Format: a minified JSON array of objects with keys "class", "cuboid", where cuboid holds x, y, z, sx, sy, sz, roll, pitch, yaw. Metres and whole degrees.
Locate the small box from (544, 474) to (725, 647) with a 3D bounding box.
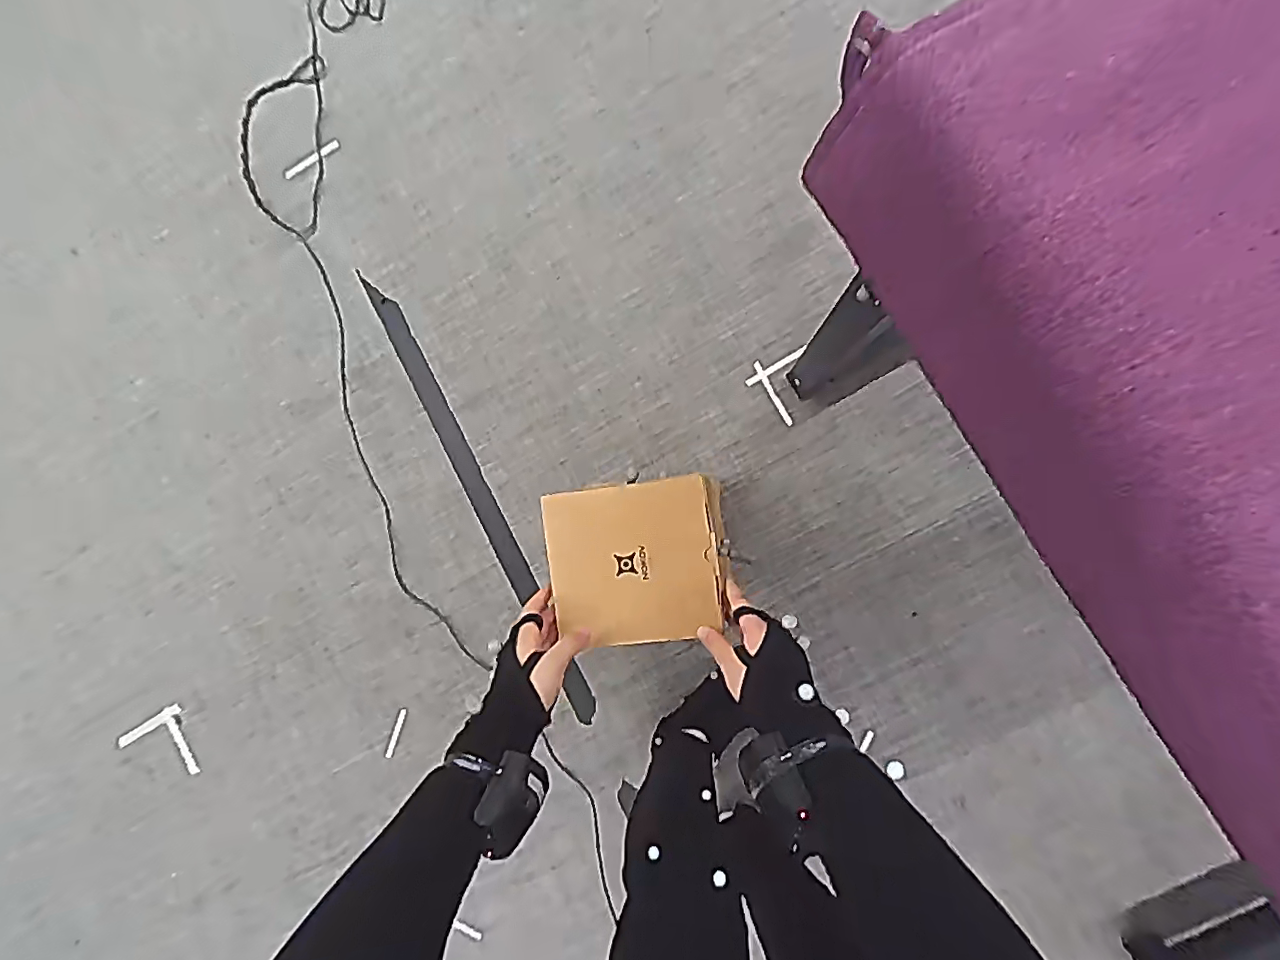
[{"class":"small box","cuboid":[0.004,0.087,0.638,0.179,0.176,0.168,-8,89,7]}]
